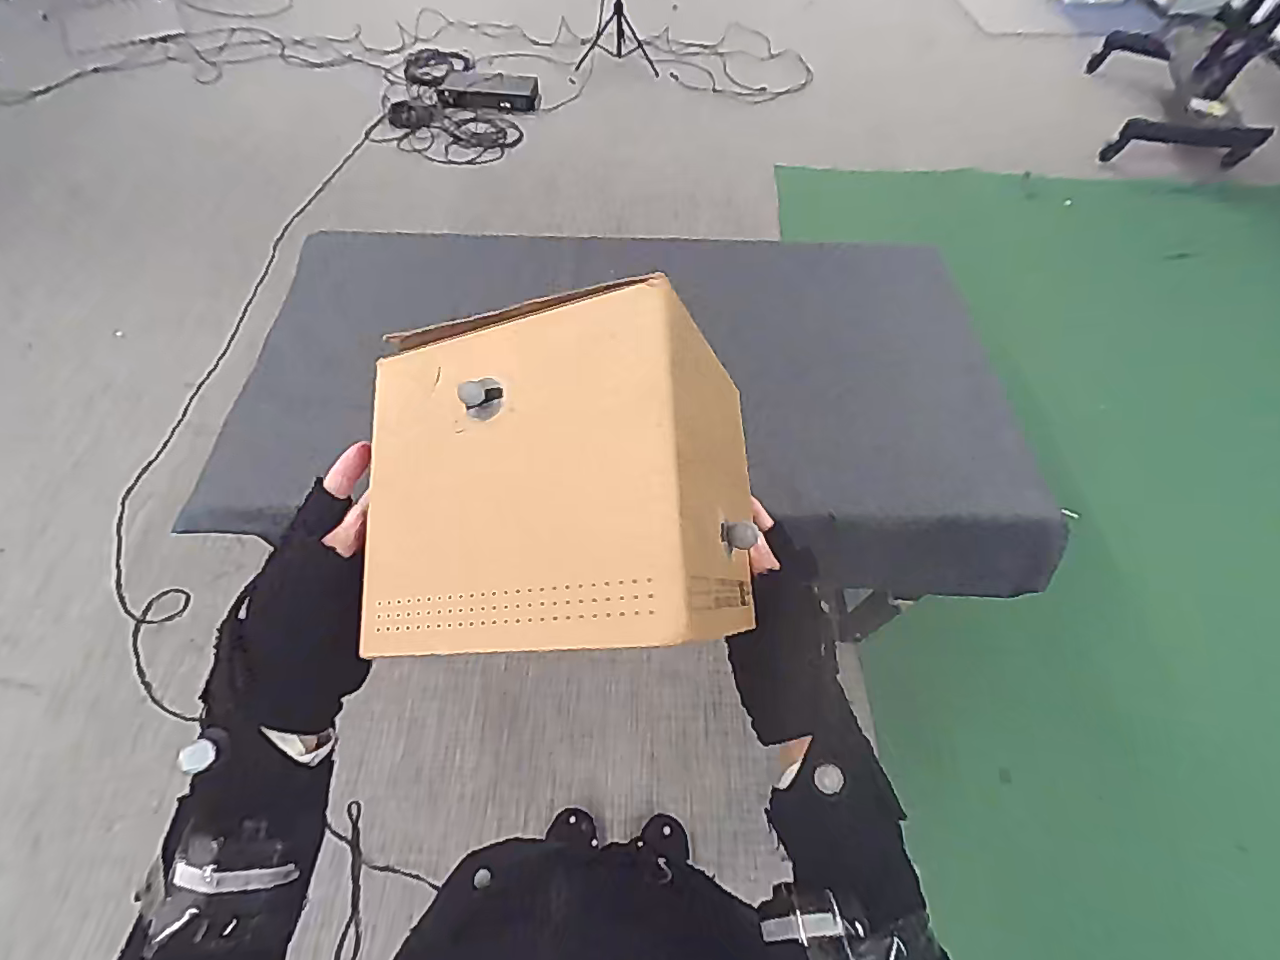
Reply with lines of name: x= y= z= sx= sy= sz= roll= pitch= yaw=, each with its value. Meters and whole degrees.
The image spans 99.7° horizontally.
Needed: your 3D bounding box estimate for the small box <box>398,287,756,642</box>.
small box: x=-0.033 y=0.011 z=0.349 sx=0.179 sy=0.168 sz=0.176 roll=-8 pitch=76 yaw=21
